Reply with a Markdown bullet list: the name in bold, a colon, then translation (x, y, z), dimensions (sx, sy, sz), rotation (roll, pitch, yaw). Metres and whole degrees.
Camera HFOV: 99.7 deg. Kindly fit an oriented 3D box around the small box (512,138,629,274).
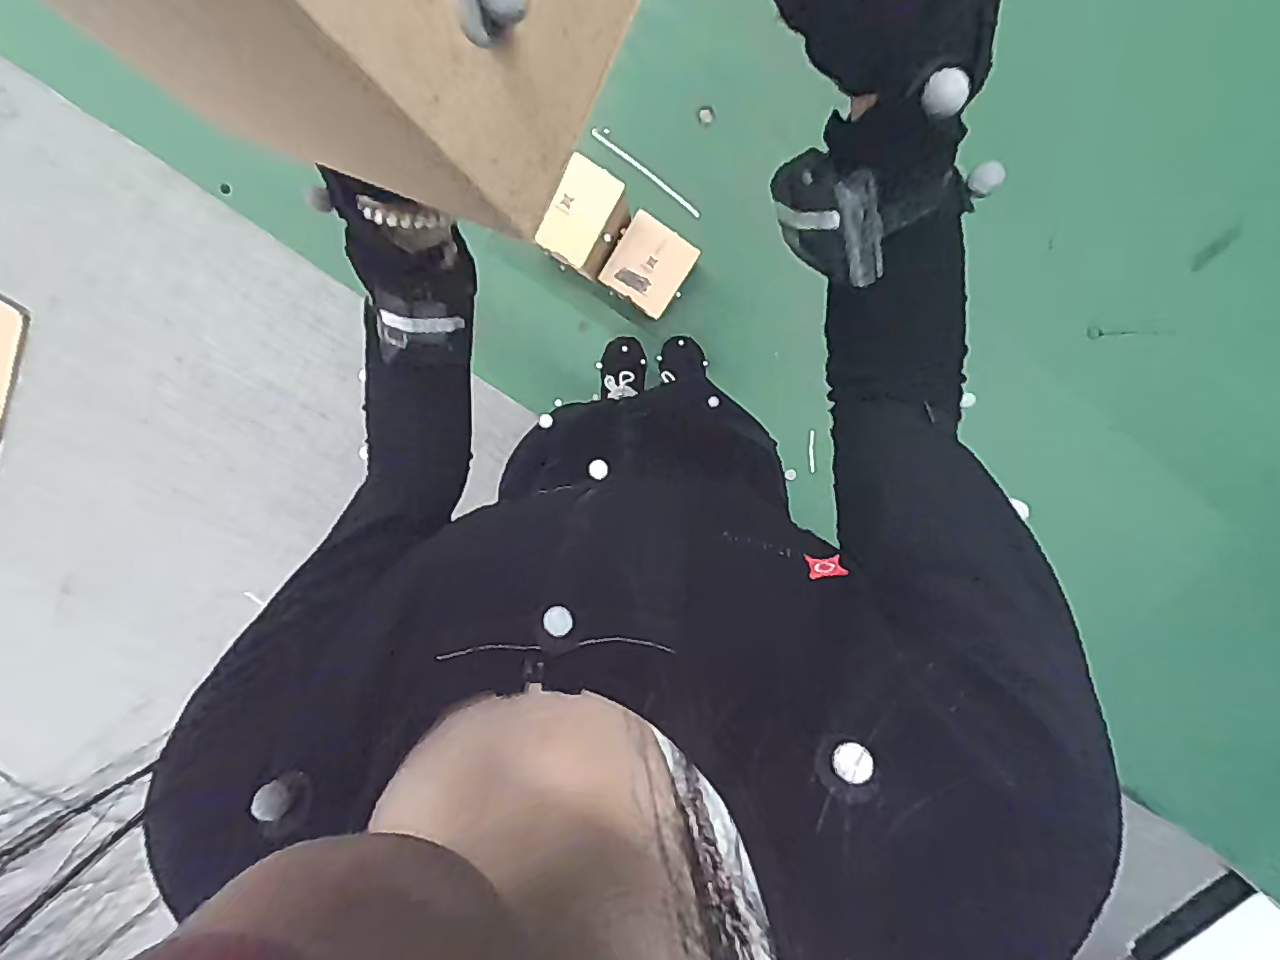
- **small box**: translation (-0.134, -0.544, 1.103), dimensions (0.168, 0.176, 0.179), rotation (30, 106, -7)
